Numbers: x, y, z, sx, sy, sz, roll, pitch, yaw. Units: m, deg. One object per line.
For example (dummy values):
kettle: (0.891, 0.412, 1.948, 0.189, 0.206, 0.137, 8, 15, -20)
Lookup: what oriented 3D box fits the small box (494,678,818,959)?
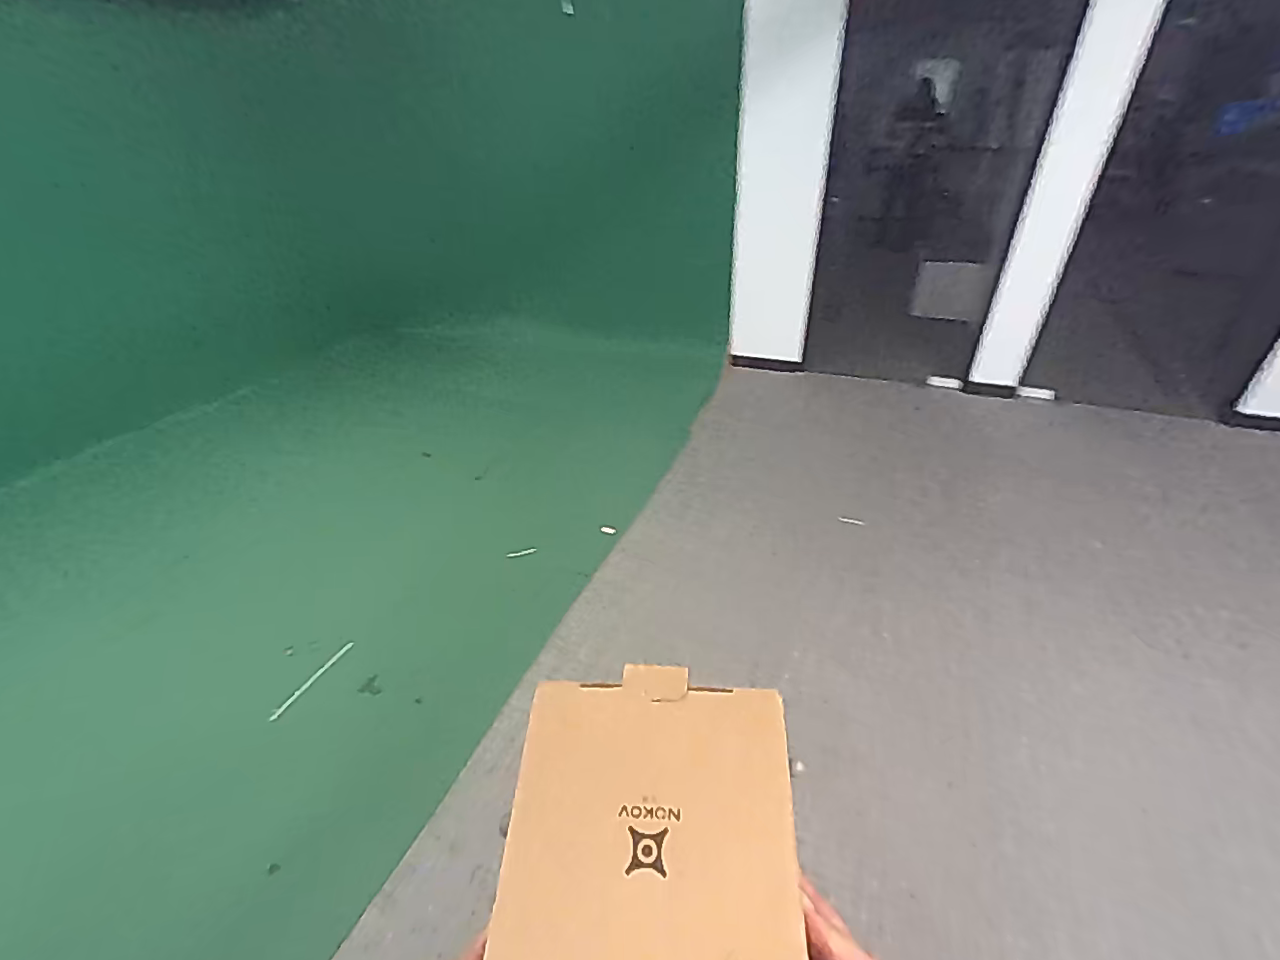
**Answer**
small box: (0.019, 0.253, 0.363, 0.168, 0.176, 0.179, 0, 49, 6)
